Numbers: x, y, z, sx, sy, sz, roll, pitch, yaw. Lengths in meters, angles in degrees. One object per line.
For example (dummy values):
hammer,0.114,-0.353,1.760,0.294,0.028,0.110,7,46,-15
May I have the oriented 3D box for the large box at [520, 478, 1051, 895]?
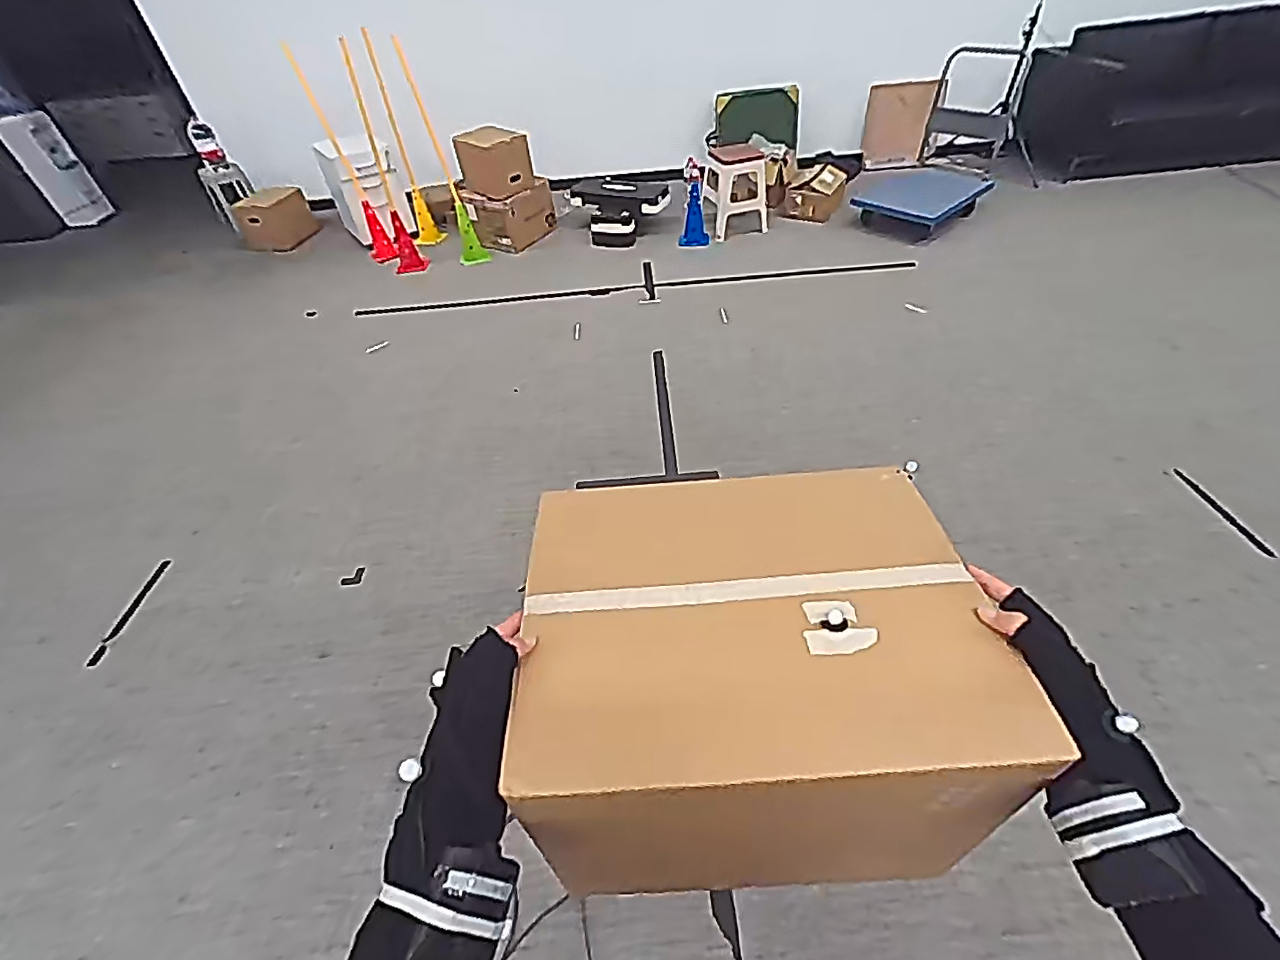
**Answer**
large box,0.108,0.225,0.604,0.408,0.320,0.320,-4,41,1
